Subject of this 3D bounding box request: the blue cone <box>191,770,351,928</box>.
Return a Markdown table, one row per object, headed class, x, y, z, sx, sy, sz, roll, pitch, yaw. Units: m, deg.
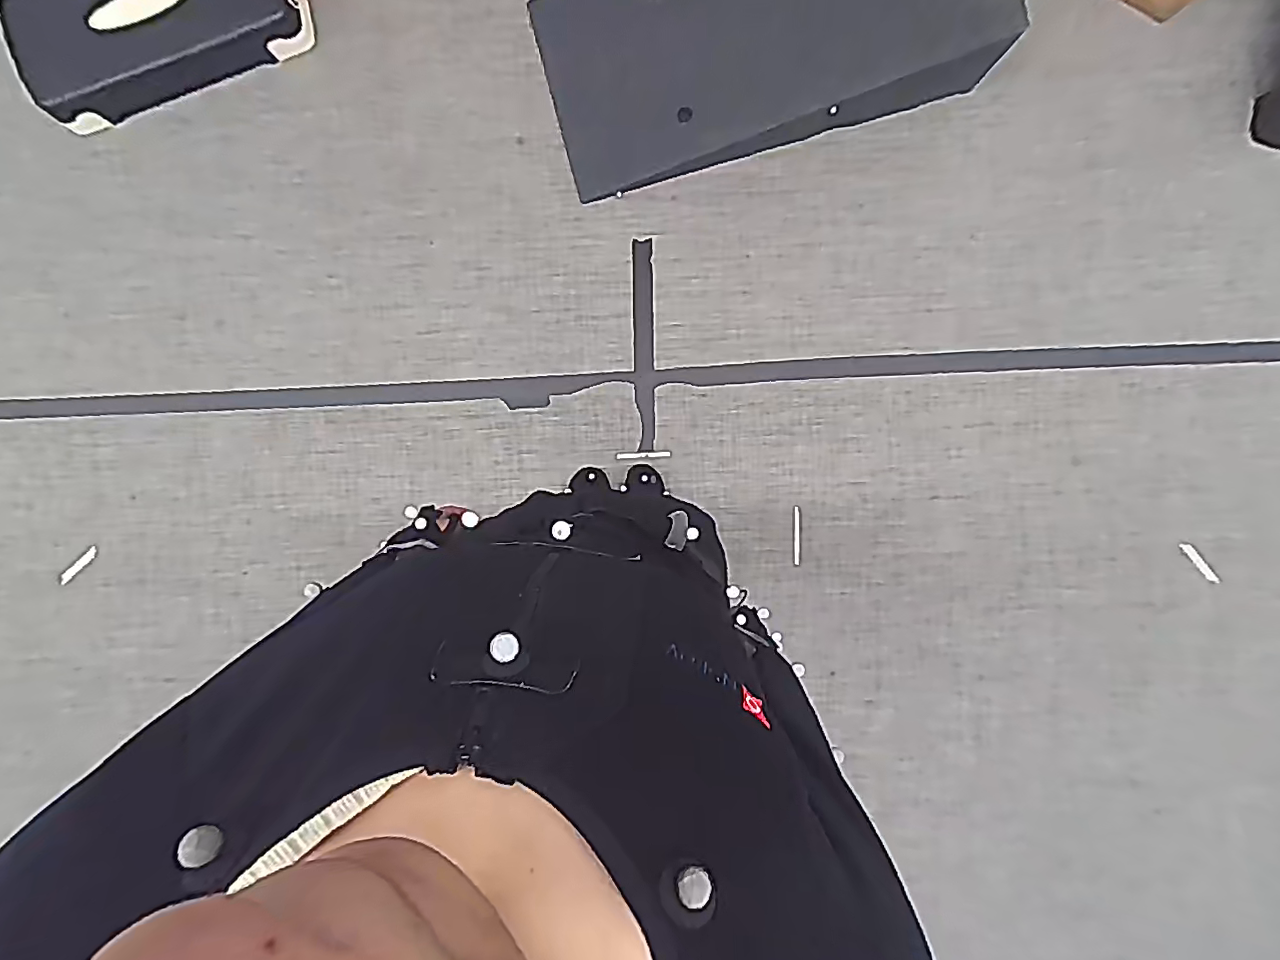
| class | x | y | z | sx | sy | sz | roll | pitch | yaw |
| --- | --- | --- | --- | --- | --- | --- | --- | --- | --- |
| blue cone | -0.870 | 0.874 | 1.273 | 0.192 | 0.380 | 0.193 | -1 | 94 | 2 |
